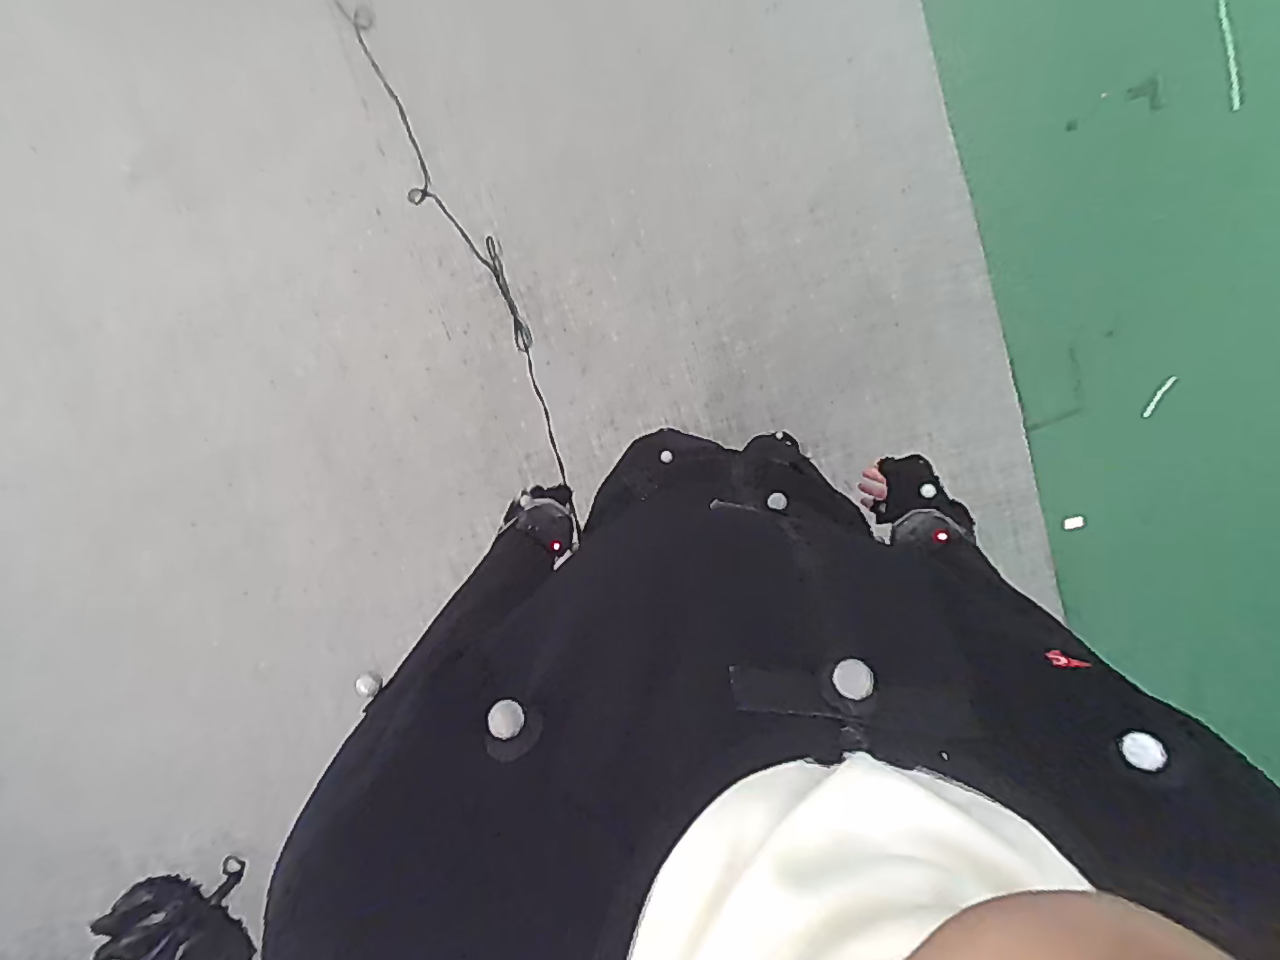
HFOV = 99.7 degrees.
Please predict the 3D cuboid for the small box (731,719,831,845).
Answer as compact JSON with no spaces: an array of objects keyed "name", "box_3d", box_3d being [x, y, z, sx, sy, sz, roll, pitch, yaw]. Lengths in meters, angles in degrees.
[{"name":"small box","box_3d":[0.325,0.701,1.271,0.168,0.176,0.179,-16,95,1]}]
